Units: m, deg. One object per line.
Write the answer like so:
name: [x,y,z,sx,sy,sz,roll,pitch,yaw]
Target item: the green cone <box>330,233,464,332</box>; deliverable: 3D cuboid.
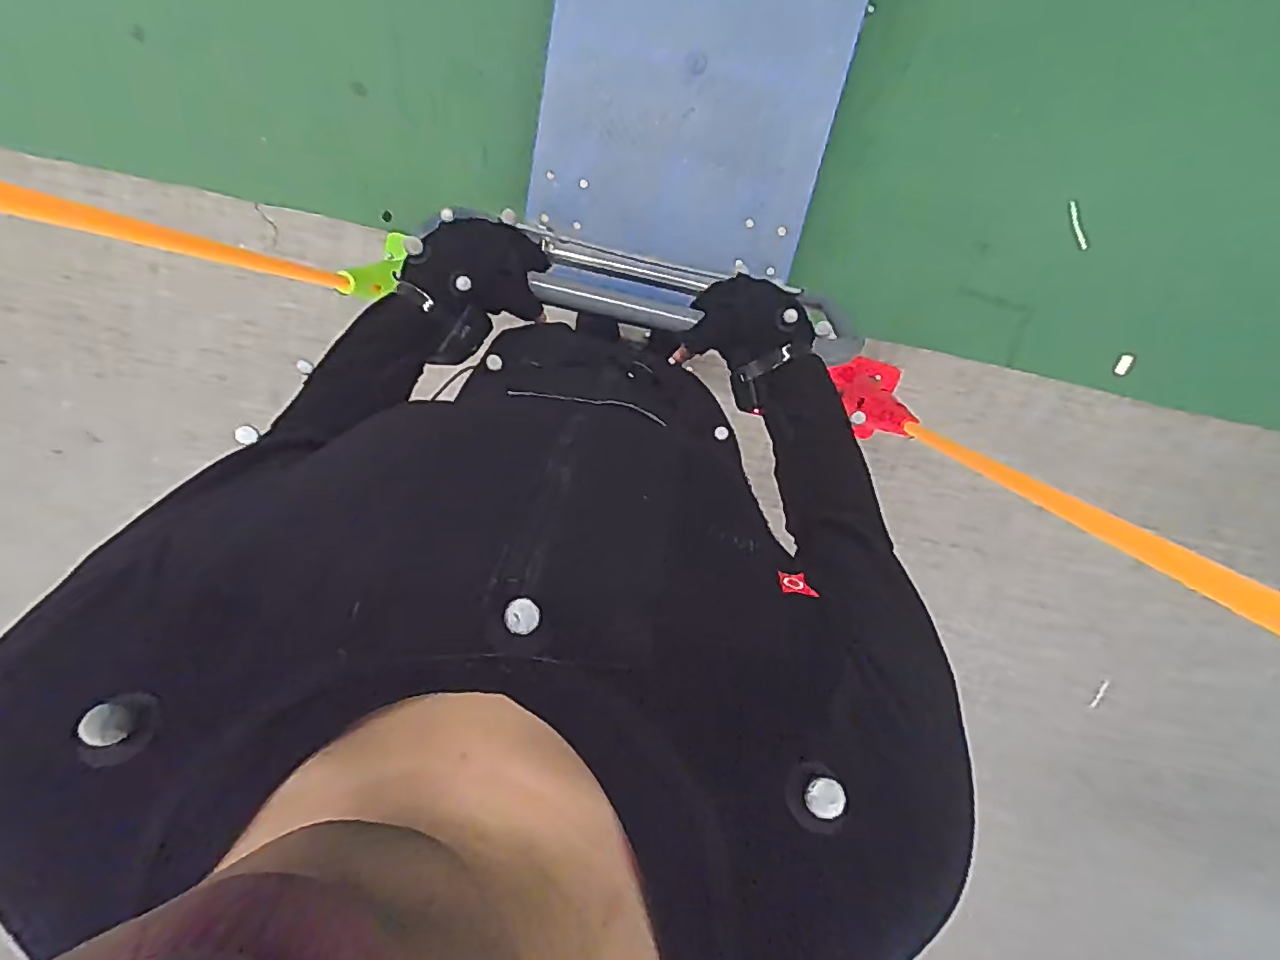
green cone: [-0.559,-0.441,1.198,0.202,0.368,0.200,17,108,-3]
